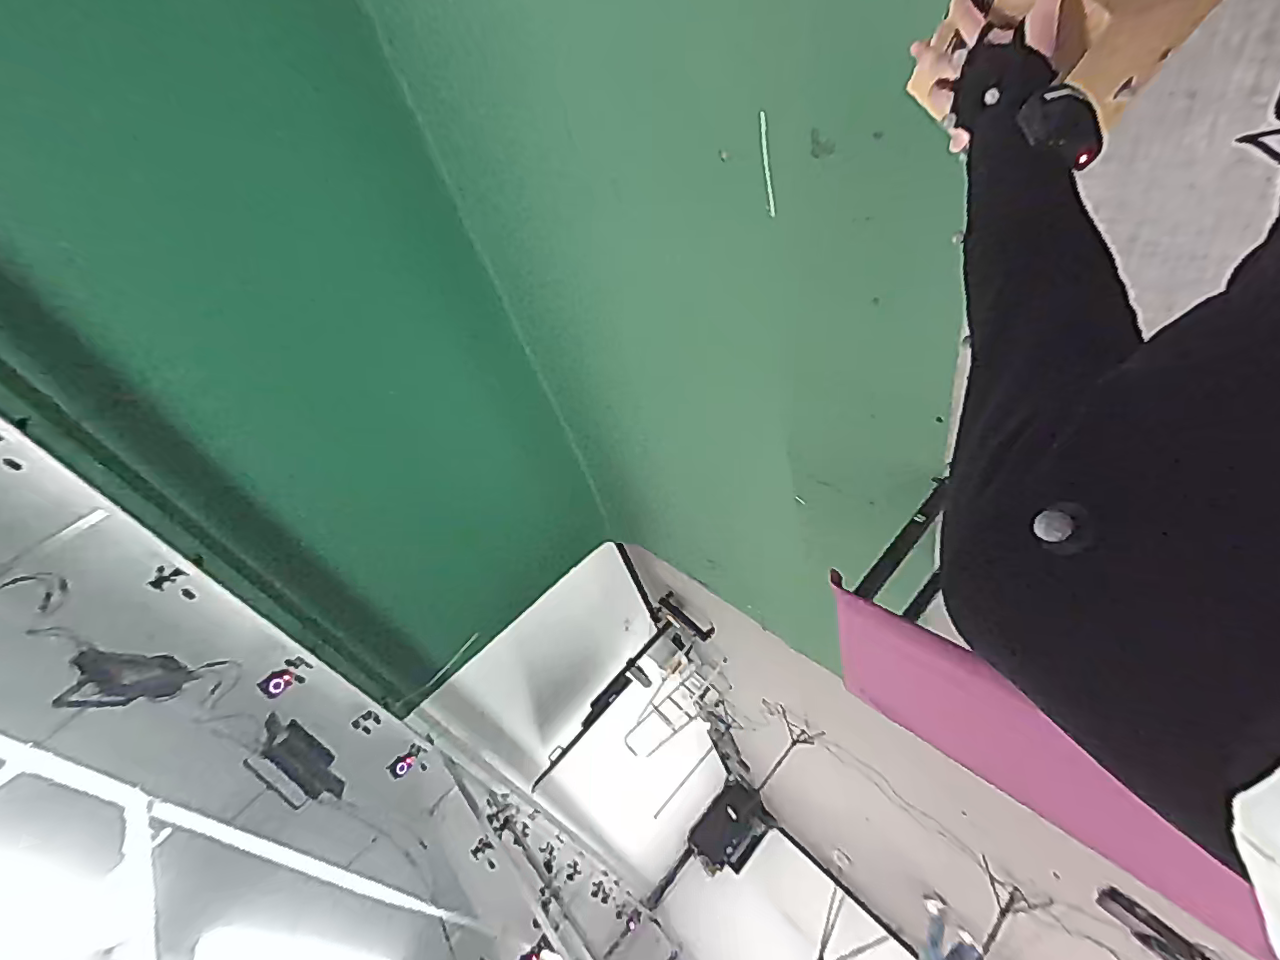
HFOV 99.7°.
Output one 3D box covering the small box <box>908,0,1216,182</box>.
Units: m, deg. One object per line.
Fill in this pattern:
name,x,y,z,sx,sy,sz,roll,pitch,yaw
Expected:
small box,0.457,-0.483,0.610,0.179,0.176,0.168,62,168,19
